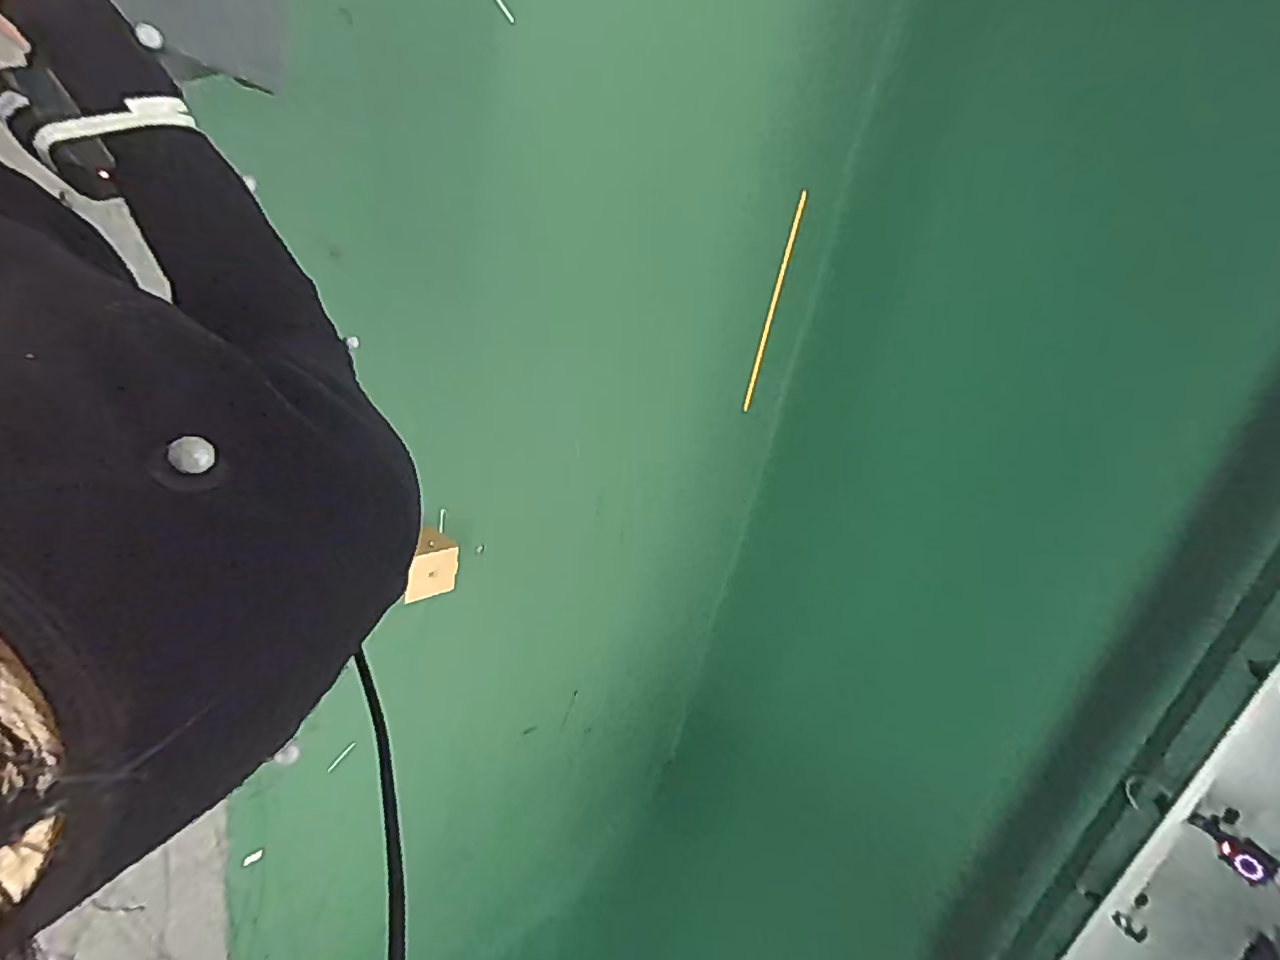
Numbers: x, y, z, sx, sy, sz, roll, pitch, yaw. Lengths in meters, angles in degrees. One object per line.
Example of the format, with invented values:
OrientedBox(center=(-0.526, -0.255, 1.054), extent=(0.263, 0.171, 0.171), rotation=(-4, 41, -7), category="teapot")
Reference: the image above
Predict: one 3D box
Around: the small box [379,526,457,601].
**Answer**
OrientedBox(center=(-0.733, 0.268, 1.777), extent=(0.179, 0.176, 0.168), rotation=(-10, 119, -51), category="small box")
